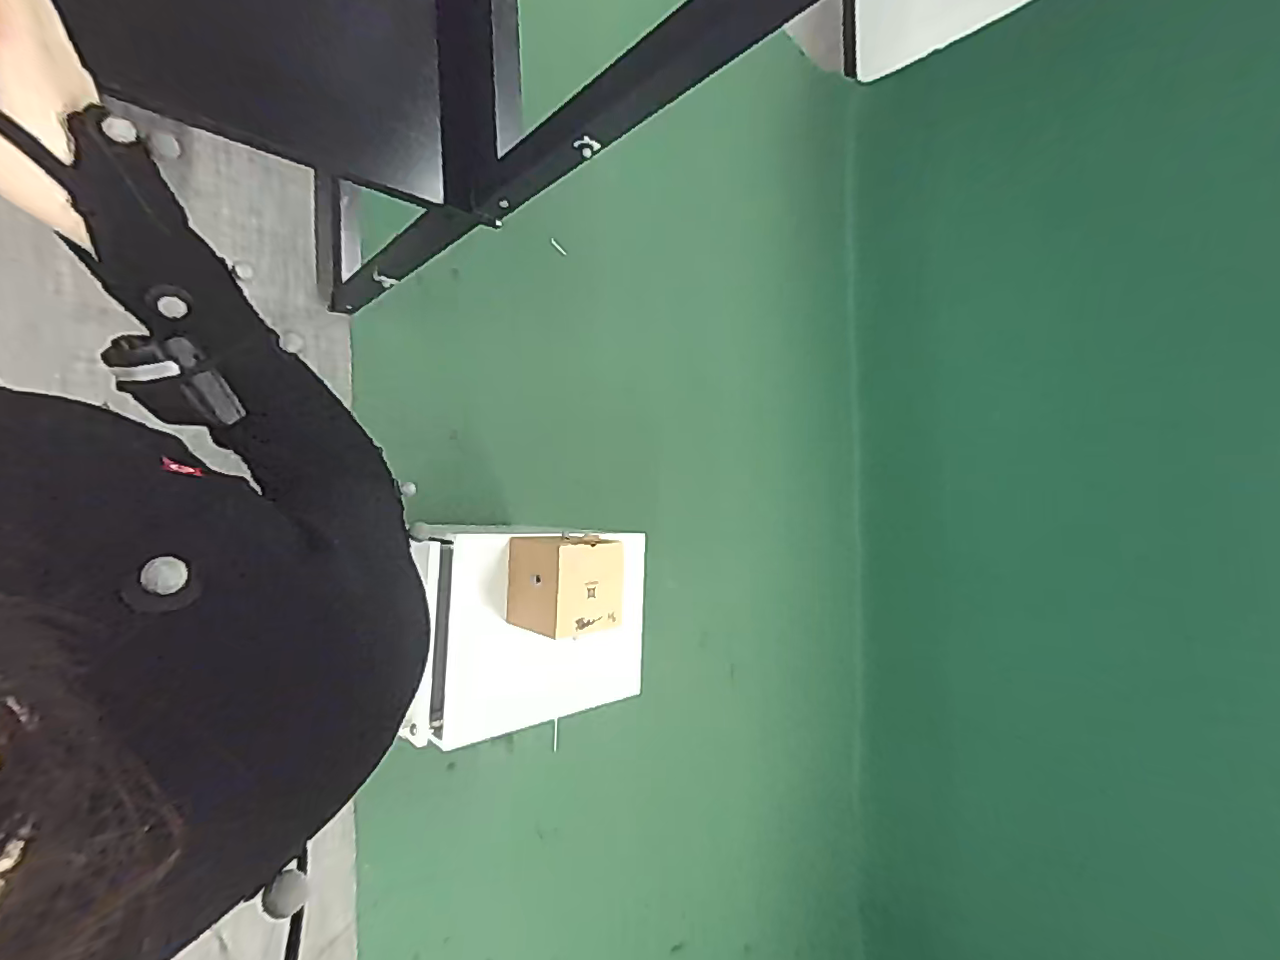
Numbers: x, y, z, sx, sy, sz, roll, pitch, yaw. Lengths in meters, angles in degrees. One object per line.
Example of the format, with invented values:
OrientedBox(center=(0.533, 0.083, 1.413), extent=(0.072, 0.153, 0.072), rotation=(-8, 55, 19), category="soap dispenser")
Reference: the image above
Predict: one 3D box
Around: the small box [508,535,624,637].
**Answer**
OrientedBox(center=(-0.149, 0.199, 1.077), extent=(0.168, 0.176, 0.179), rotation=(4, 87, -45), category="small box")
